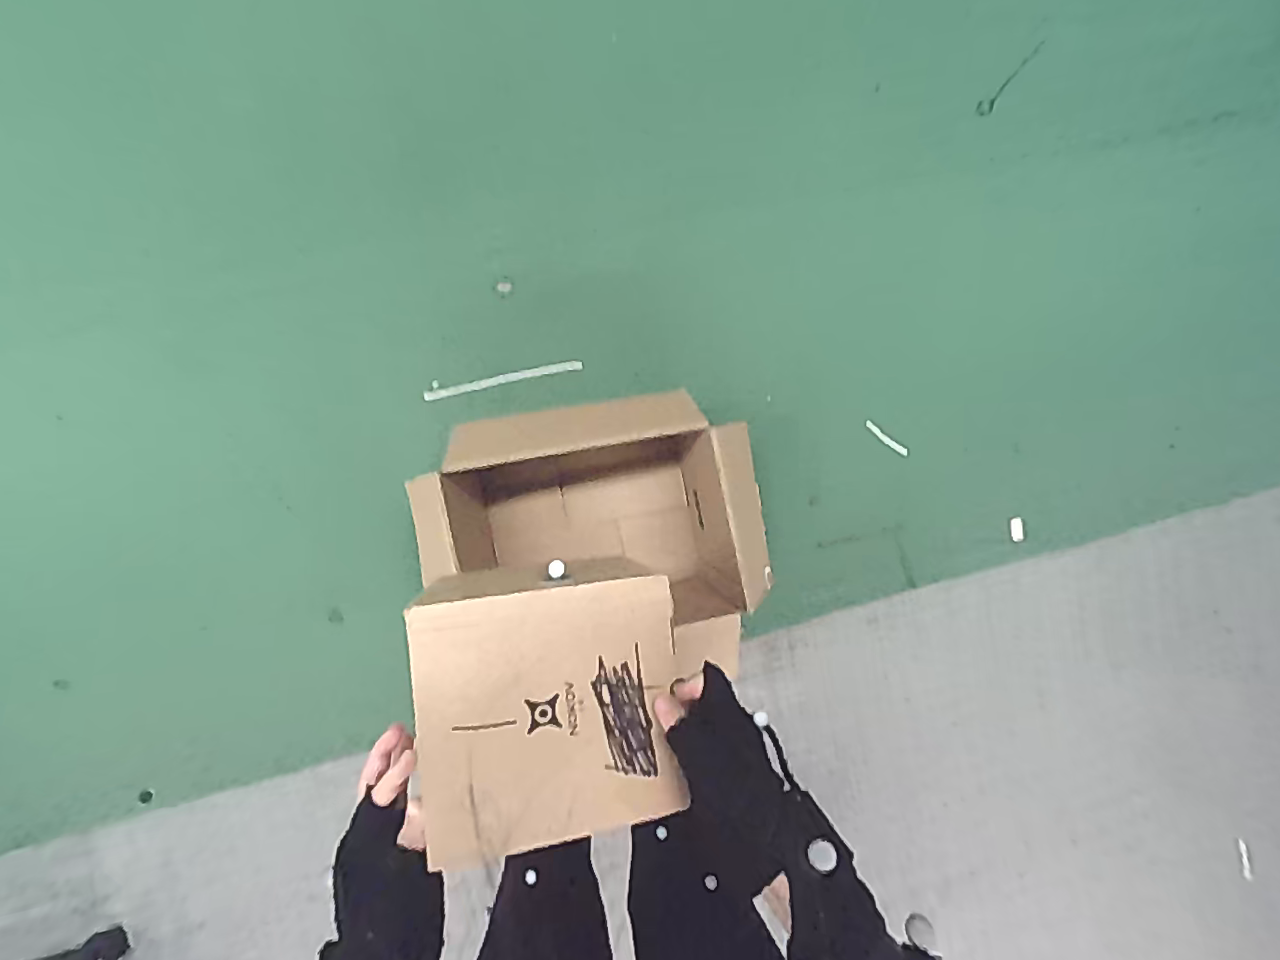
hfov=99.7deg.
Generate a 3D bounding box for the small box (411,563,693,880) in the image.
[{"bbox_3d":[-0.072,0.162,0.430,0.179,0.176,0.168,-5,88,-13],"label":"small box"}]
